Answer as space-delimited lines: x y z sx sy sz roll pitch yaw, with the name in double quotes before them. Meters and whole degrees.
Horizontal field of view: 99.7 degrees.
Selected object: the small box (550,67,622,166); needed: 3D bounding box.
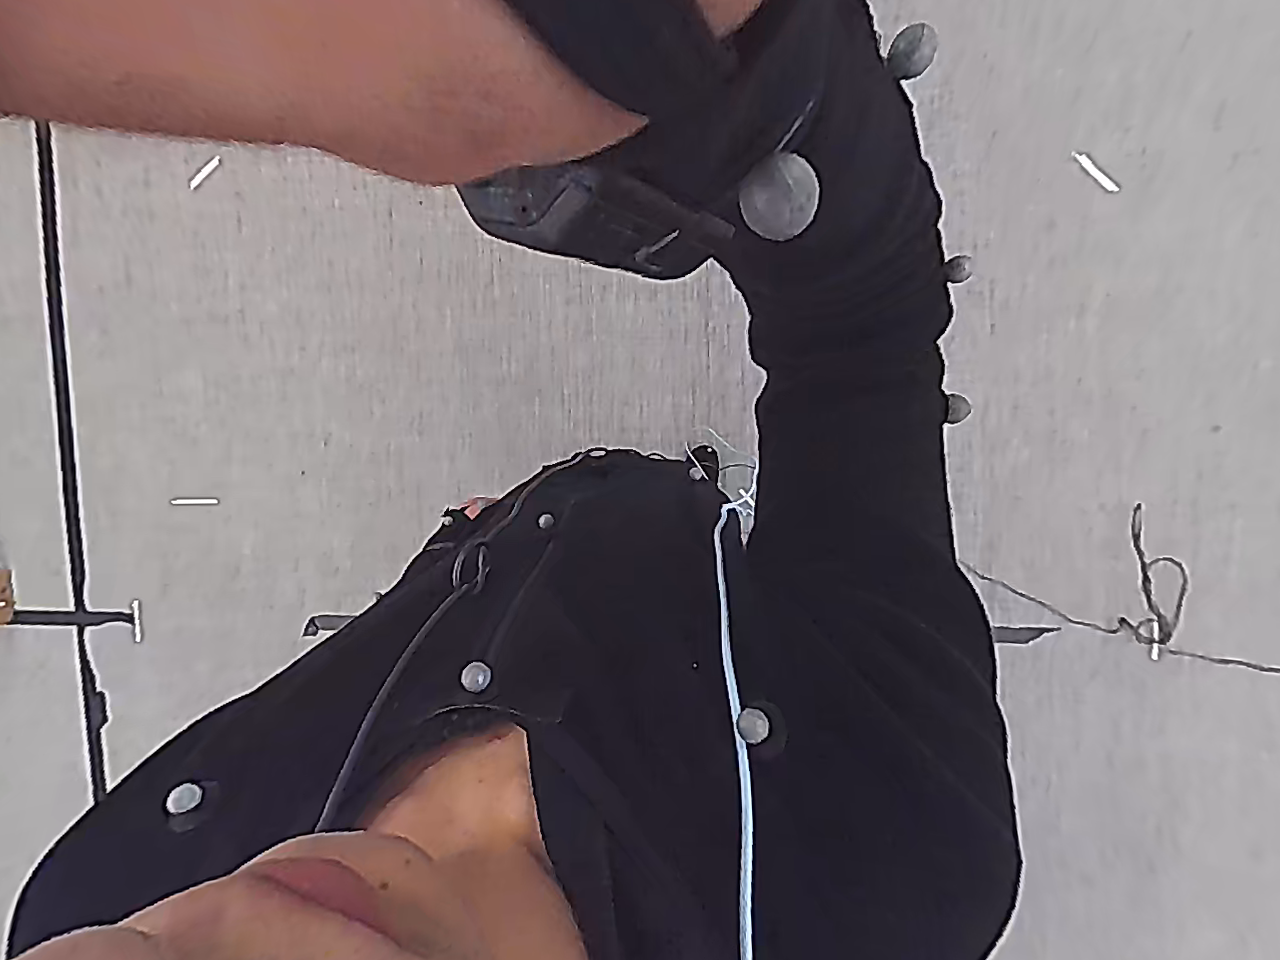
"small box" -0.143 -0.999 1.498 0.179 0.176 0.168 -2 94 5
